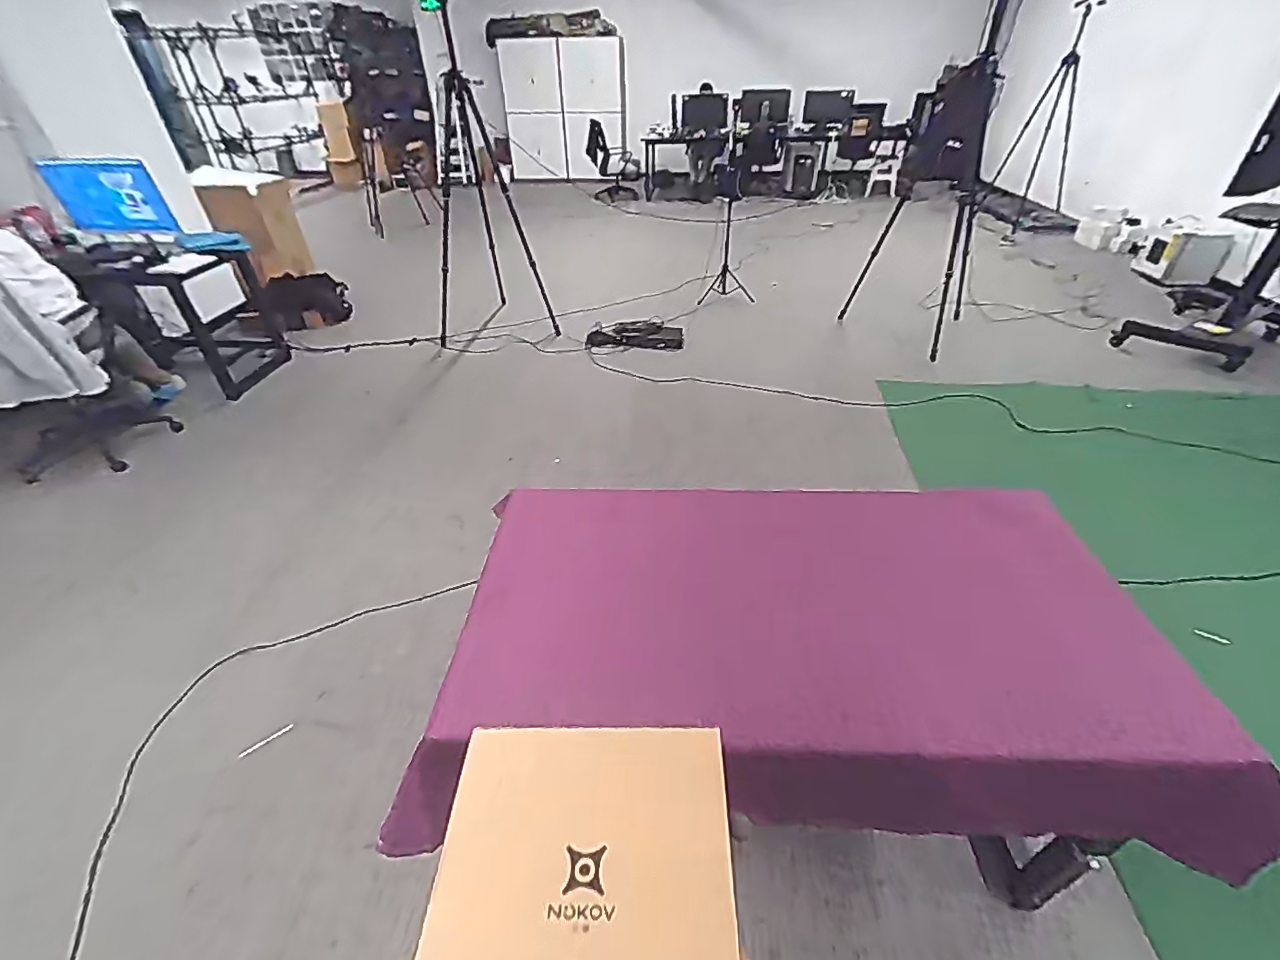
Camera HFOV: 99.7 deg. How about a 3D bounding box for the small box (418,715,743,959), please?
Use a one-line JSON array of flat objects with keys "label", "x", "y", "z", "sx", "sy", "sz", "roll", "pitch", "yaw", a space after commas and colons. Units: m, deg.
[{"label": "small box", "x": -0.025, "y": 0.276, "z": 0.349, "sx": 0.168, "sy": 0.176, "sz": 0.179, "roll": -1, "pitch": 41, "yaw": 4}]
